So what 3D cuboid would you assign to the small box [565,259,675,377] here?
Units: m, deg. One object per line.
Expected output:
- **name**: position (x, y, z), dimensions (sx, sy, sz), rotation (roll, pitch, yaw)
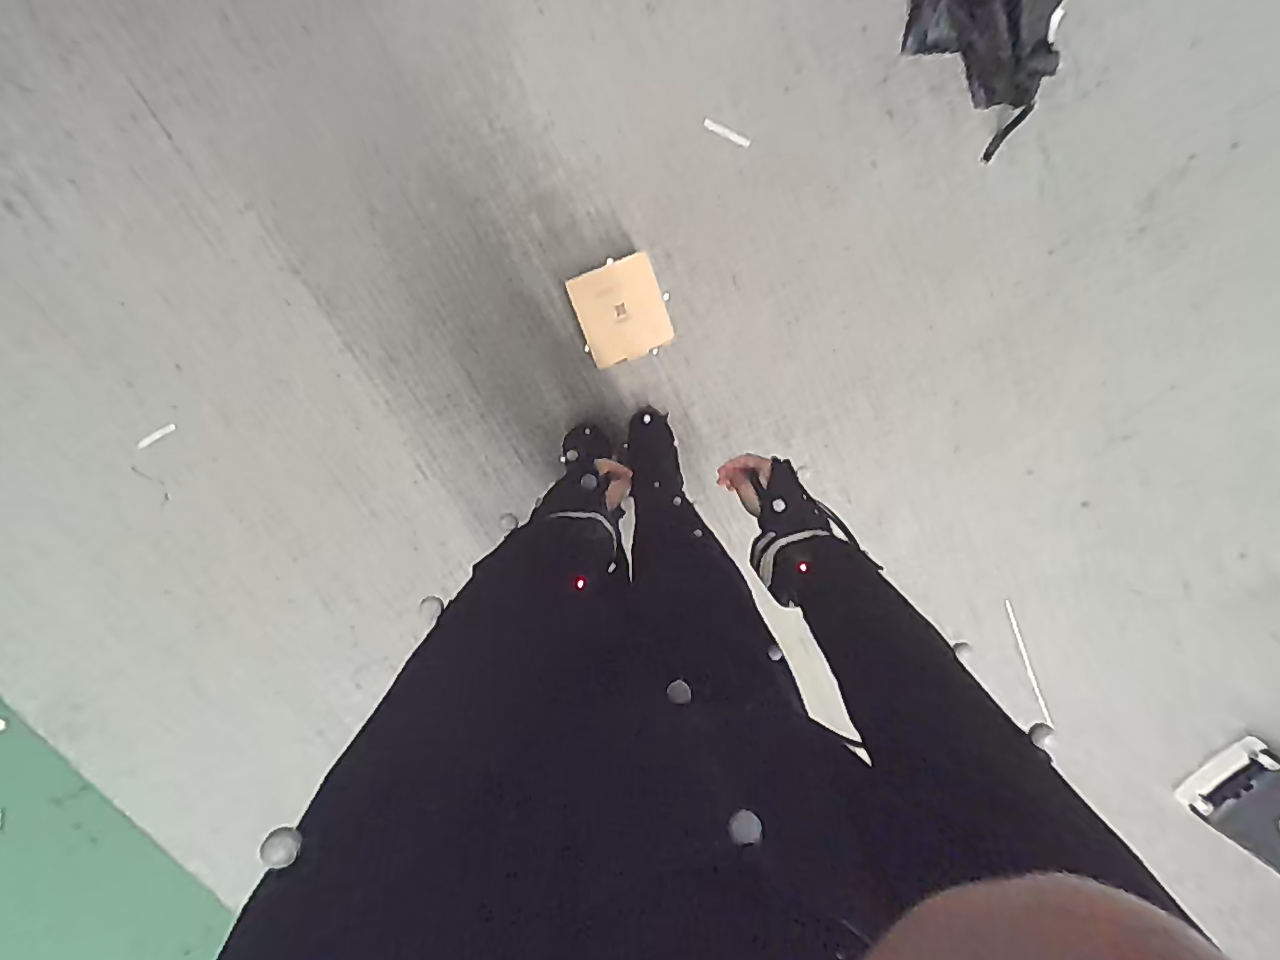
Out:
- **small box**: position (-0.038, -0.327, 1.097), dimensions (0.168, 0.176, 0.179), rotation (-21, 106, 4)
